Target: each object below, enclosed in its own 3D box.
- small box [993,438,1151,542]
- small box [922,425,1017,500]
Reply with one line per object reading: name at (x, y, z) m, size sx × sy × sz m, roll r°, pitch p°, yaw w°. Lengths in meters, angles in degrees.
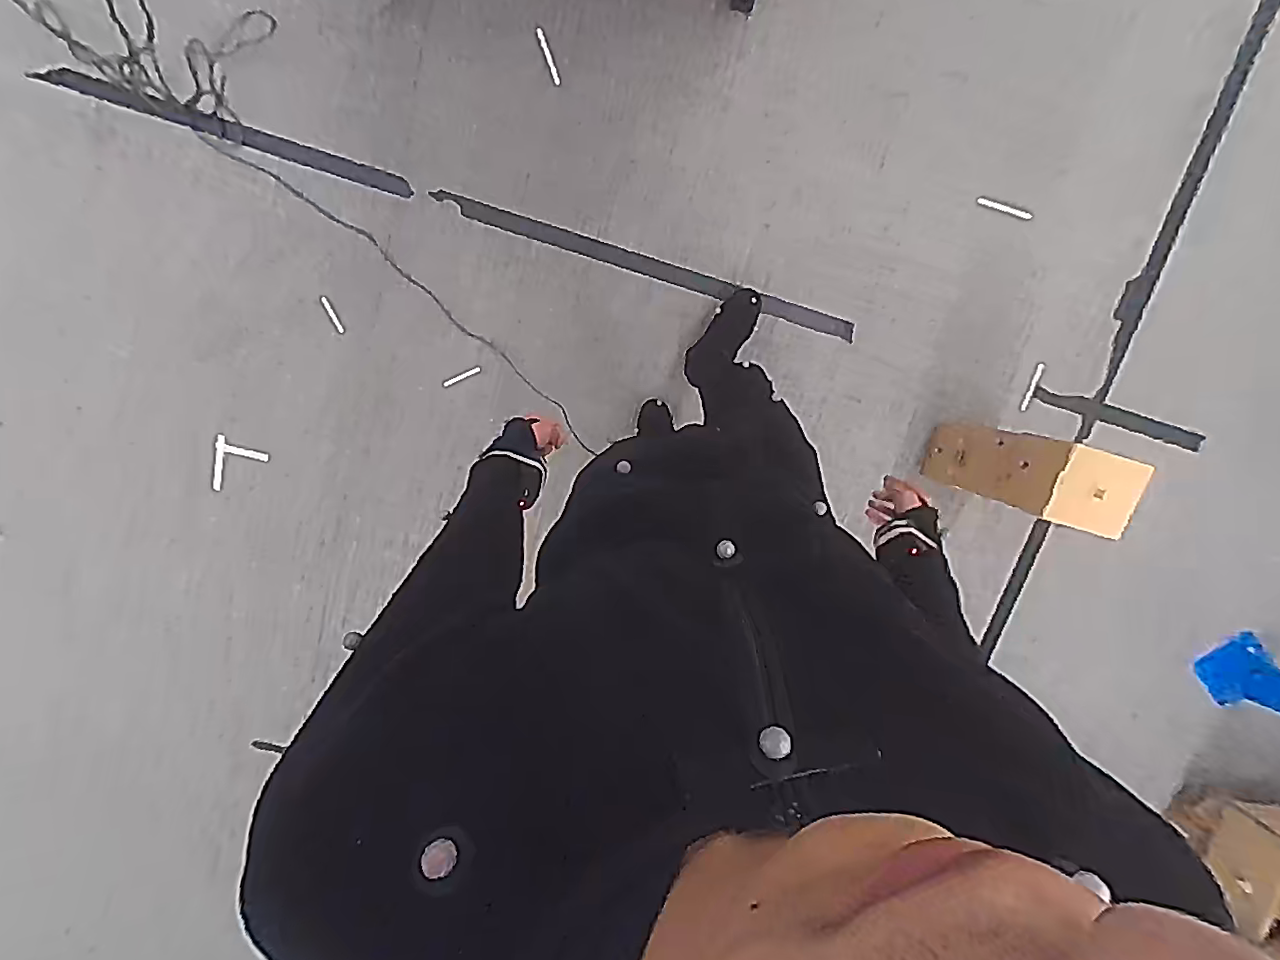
small box at (0.930, 0.013, 1.183) m, size 0.179 × 0.176 × 0.168 m, roll 16°, pitch 103°, yaw -2°
small box at (0.930, -0.051, 1.505) m, size 0.179 × 0.176 × 0.168 m, roll 13°, pitch 102°, yaw -1°
